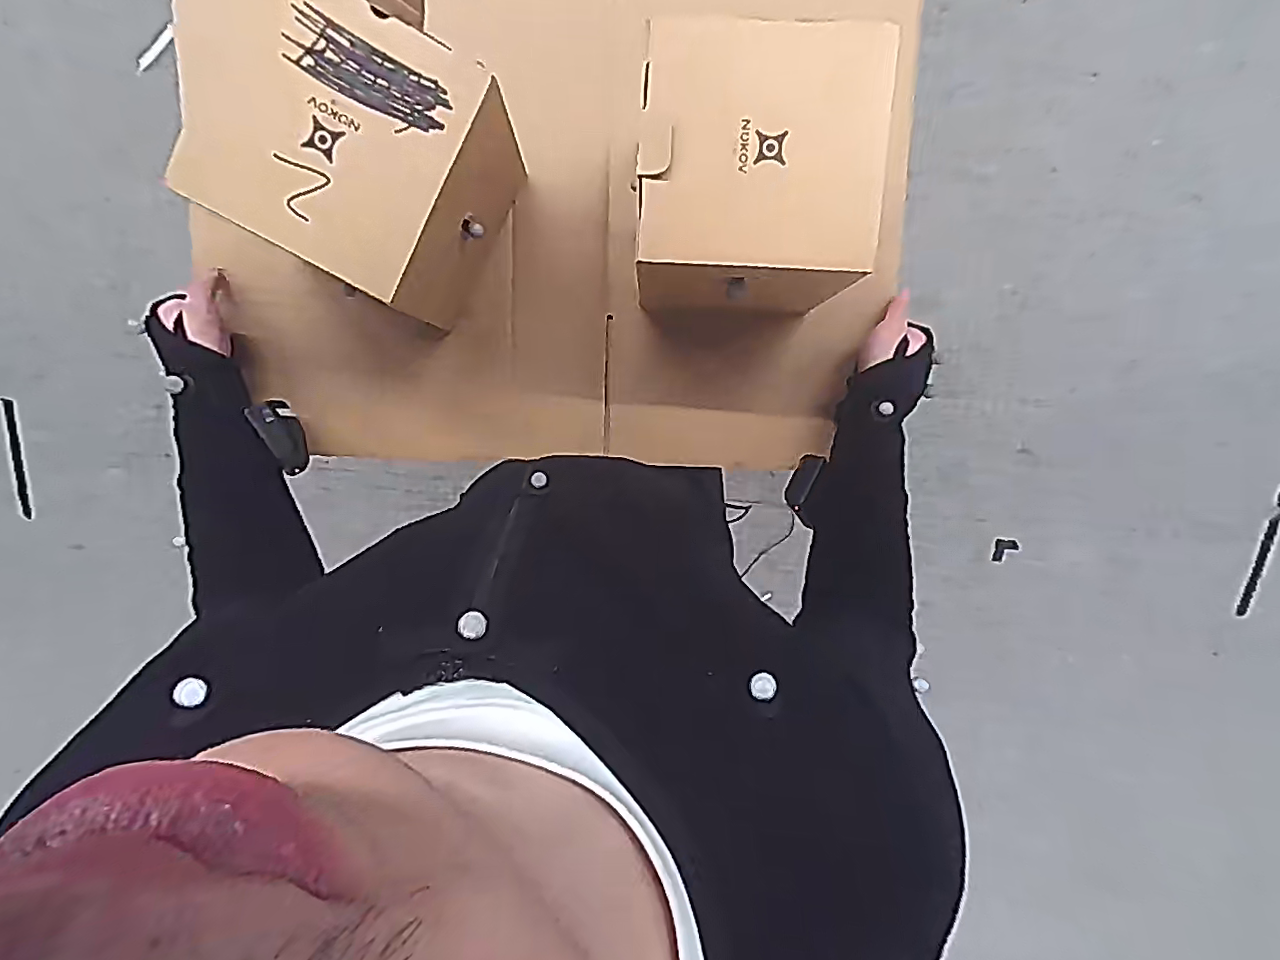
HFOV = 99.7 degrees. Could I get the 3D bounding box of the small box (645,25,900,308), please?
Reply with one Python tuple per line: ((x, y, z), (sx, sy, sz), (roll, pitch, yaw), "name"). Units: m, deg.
((0.097, -0.252, 0.476), (0.179, 0.176, 0.168), (3, 98, 2), "small box")
